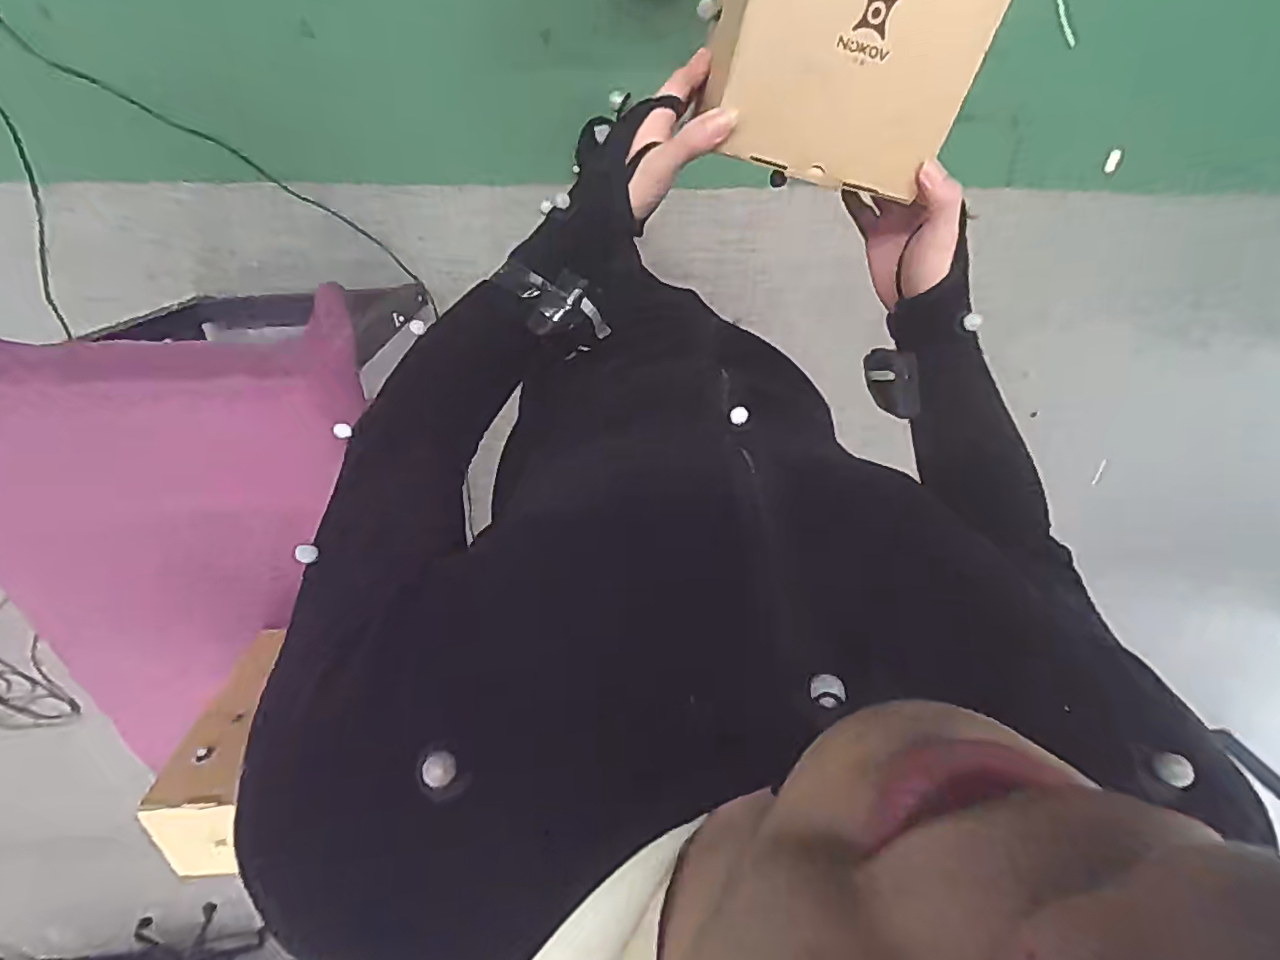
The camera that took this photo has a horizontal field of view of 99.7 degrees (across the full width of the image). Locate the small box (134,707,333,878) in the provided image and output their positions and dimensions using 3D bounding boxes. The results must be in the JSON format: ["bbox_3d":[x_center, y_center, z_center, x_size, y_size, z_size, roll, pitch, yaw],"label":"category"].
[{"bbox_3d":[-0.603,0.471,0.832,0.168,0.176,0.179,2,119,-6],"label":"small box"}]

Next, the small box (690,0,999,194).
[{"bbox_3d":[0.140,-0.345,0.412,0.168,0.176,0.179,9,125,-9],"label":"small box"}]
